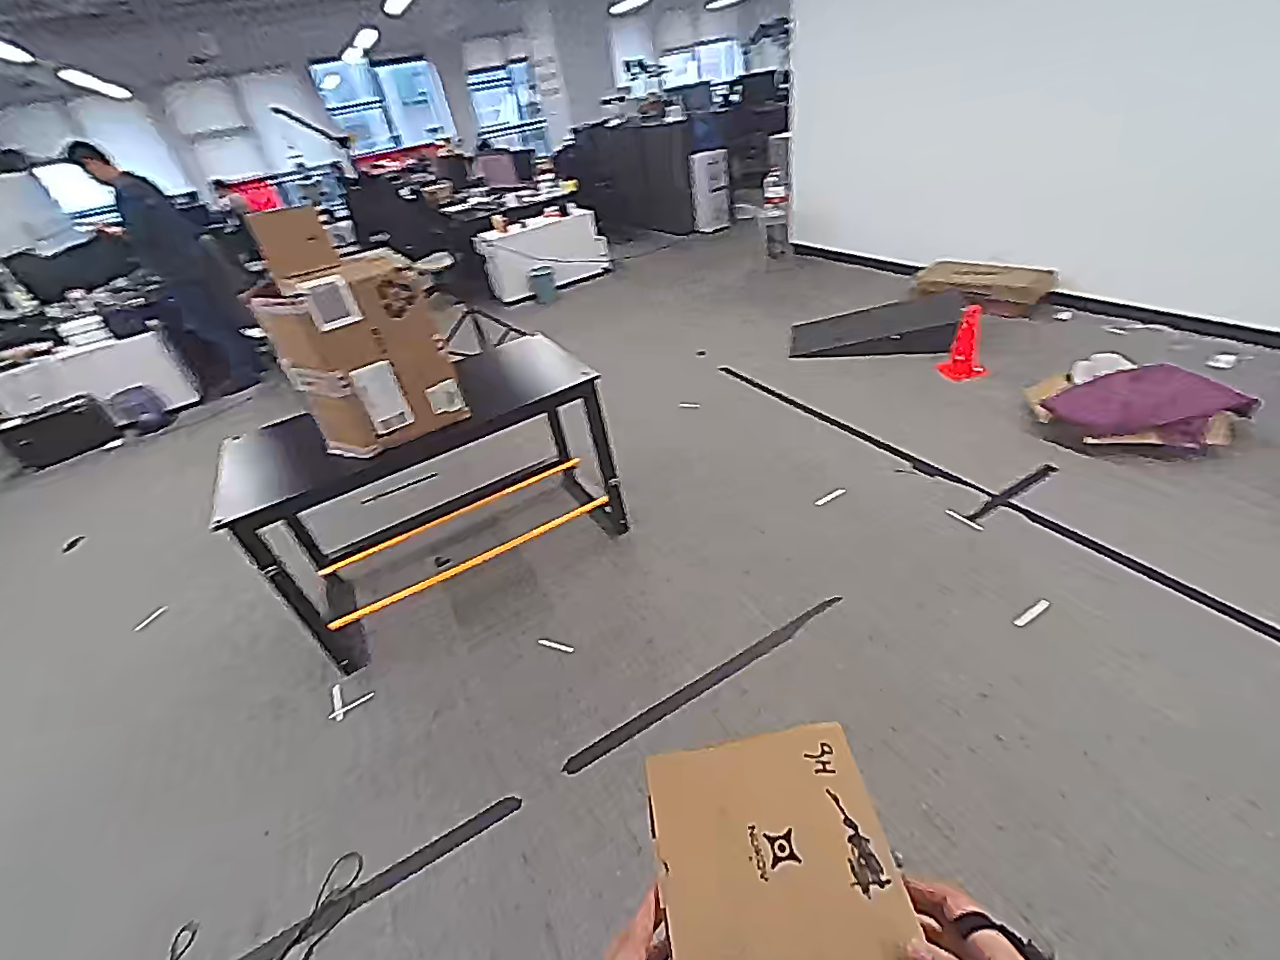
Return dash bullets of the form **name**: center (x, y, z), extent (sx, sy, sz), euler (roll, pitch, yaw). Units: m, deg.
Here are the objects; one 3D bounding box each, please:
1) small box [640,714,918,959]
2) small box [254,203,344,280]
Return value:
- **small box**: center (0.105, 0.335, 0.475), extent (0.179, 0.176, 0.168), euler (-10, 43, -1)
- **small box**: center (-0.989, -0.698, 1.578), extent (0.179, 0.176, 0.168), euler (-27, 35, -22)
